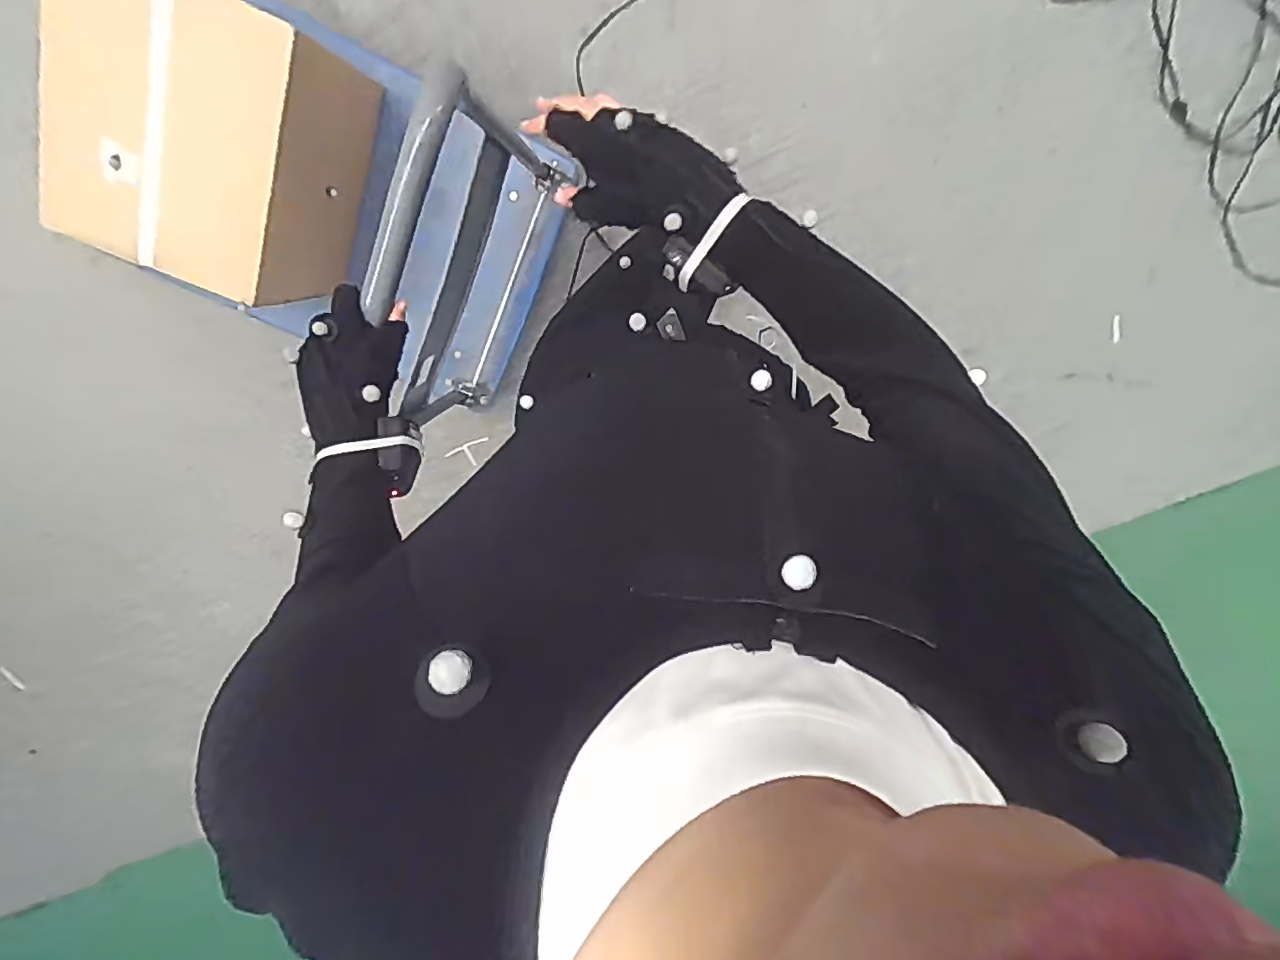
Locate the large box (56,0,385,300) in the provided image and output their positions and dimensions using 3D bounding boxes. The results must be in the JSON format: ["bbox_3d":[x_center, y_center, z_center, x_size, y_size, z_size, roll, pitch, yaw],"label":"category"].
[{"bbox_3d":[-0.678,-0.574,0.917,0.320,0.320,0.408,21,111,-11],"label":"large box"}]
